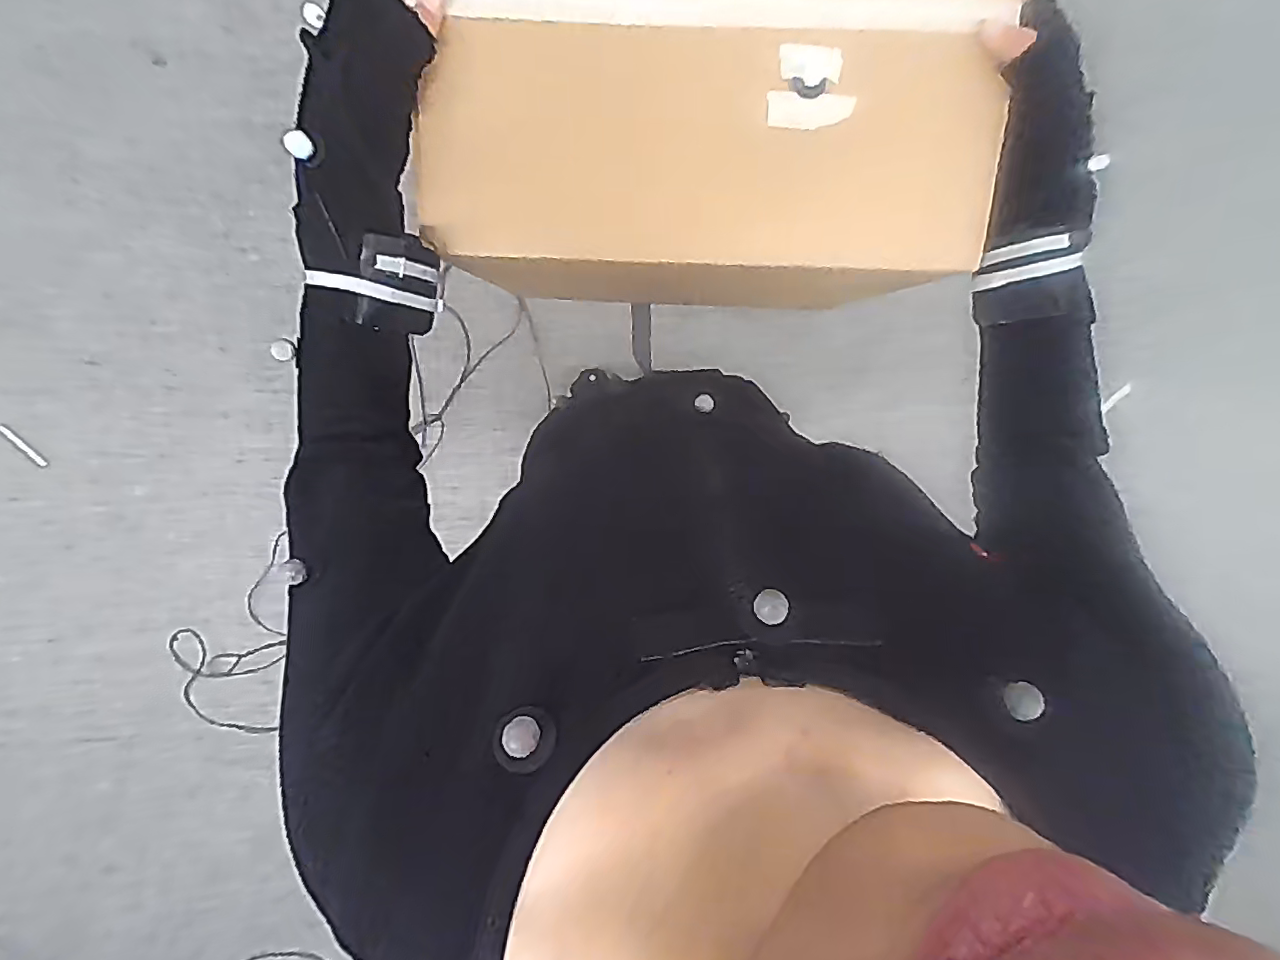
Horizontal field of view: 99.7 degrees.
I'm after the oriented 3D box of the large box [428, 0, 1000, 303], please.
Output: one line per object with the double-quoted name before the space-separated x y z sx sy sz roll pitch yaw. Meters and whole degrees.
"large box" 0.047 -0.349 0.521 0.408 0.320 0.320 1 103 -1
